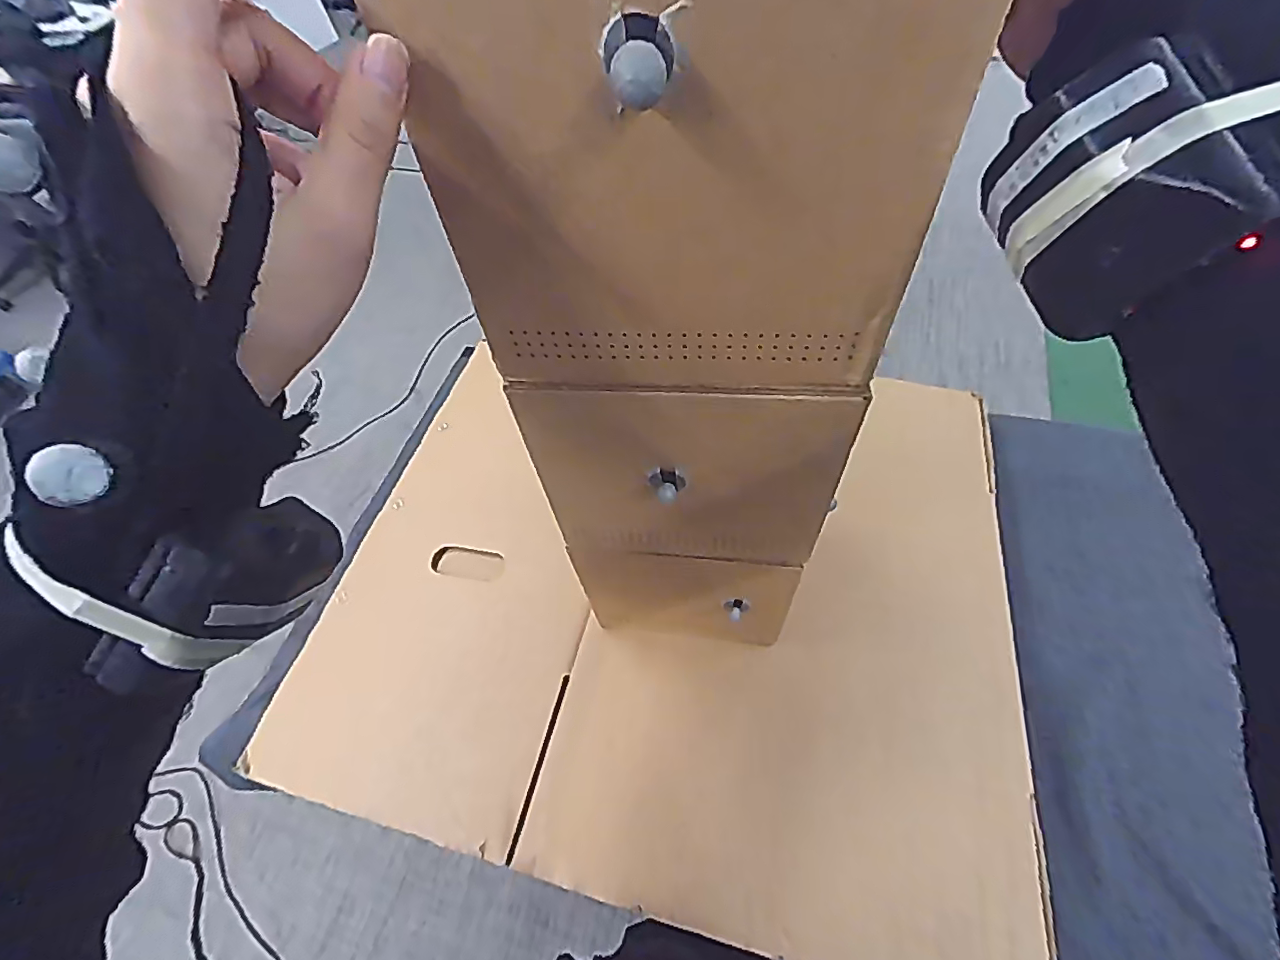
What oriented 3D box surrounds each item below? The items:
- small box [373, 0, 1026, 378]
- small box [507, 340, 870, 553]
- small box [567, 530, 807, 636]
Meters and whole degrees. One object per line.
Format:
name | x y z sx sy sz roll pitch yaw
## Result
small box | 0.024 -0.159 0.235 0.179 0.176 0.168 2 55 8
small box | 0.035 -0.062 0.365 0.179 0.176 0.168 2 55 8
small box | 0.048 0.034 0.498 0.179 0.176 0.168 3 55 9
